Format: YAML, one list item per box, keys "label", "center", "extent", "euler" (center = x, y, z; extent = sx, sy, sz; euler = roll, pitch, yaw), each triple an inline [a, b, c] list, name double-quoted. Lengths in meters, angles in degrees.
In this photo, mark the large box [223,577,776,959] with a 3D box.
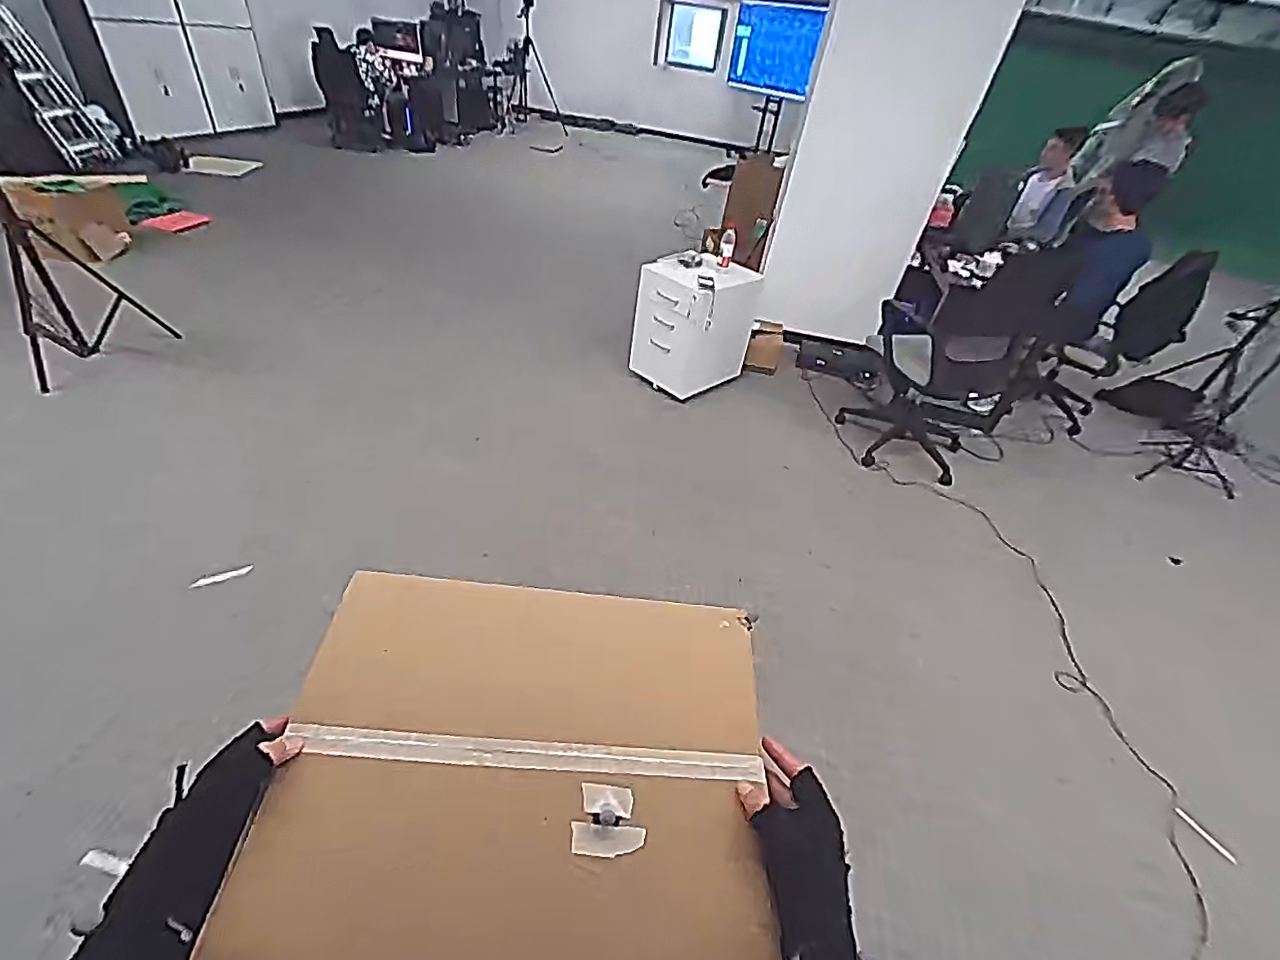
- label: "large box"
  center: [-0.113, 0.332, 0.594]
  extent: [0.408, 0.320, 0.320]
  euler: [7, 50, -6]
